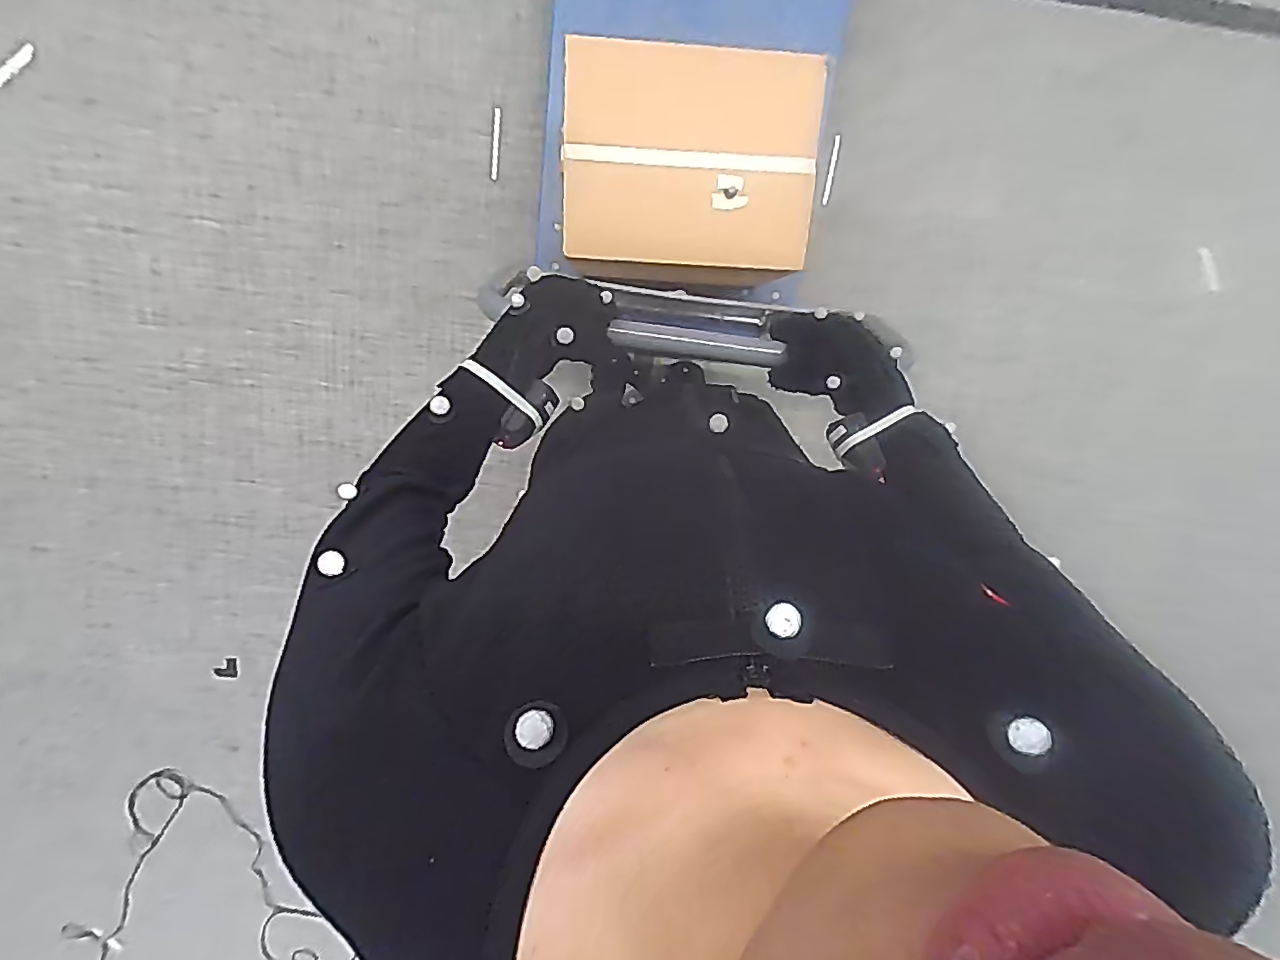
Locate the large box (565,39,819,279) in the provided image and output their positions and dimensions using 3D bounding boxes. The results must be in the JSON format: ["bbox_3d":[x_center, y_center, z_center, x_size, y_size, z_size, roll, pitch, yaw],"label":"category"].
[{"bbox_3d":[0.071,-0.561,1.019,0.408,0.320,0.320,2,106,-3],"label":"large box"}]
